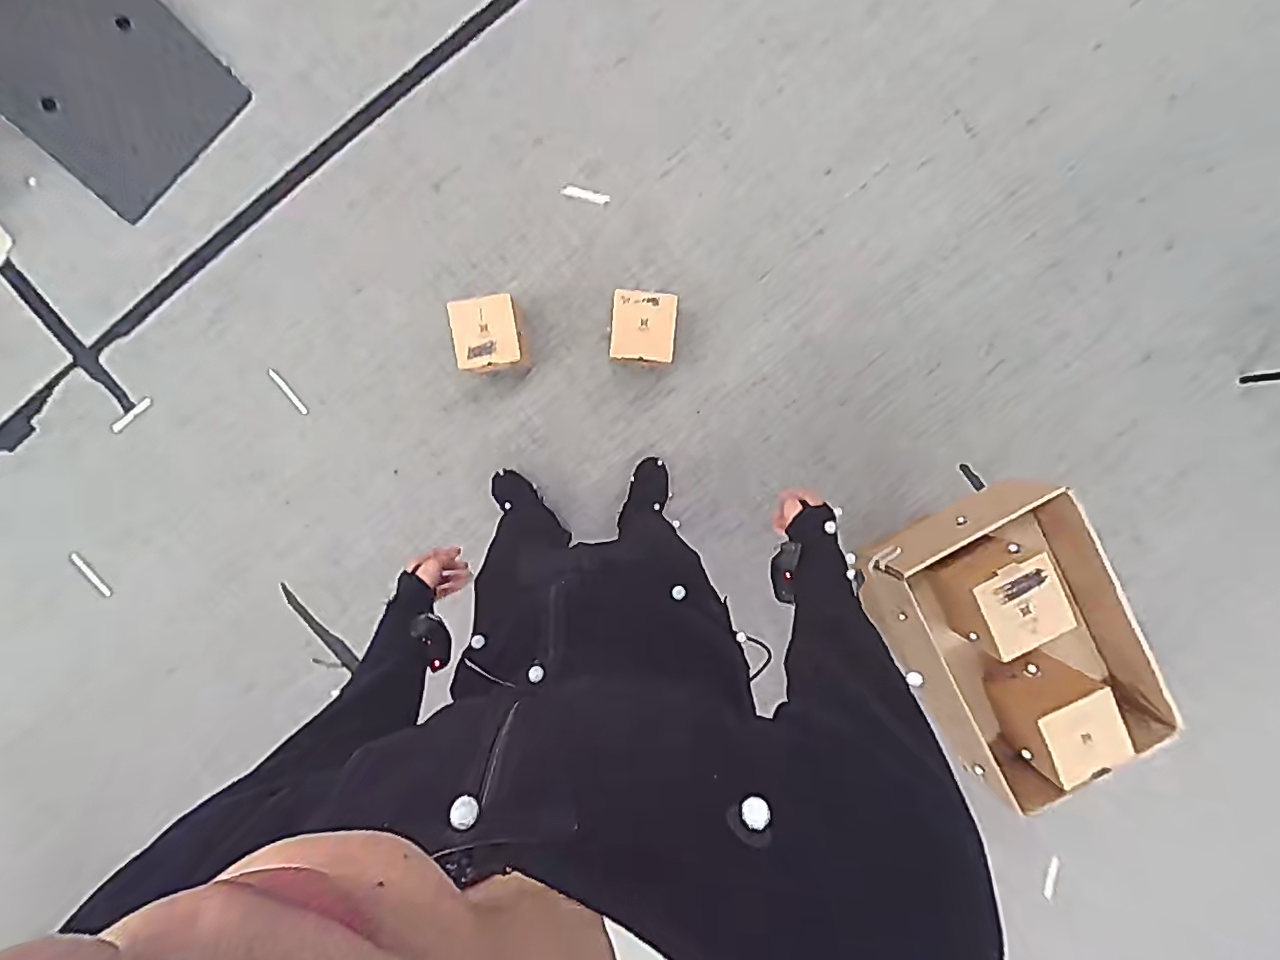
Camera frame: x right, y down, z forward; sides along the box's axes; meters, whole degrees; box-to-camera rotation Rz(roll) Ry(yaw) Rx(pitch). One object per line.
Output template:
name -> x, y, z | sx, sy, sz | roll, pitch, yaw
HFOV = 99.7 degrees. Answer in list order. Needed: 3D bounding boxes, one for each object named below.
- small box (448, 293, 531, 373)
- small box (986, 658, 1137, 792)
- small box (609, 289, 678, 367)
small box -> -0.400, -0.389, 1.463 | 0.168, 0.176, 0.179 | -9, 95, -1
small box -> 0.903, 0.522, 1.174 | 0.168, 0.176, 0.179 | -25, 95, -1
small box -> 0.006, -0.407, 1.474 | 0.168, 0.176, 0.179 | 5, 97, -3
